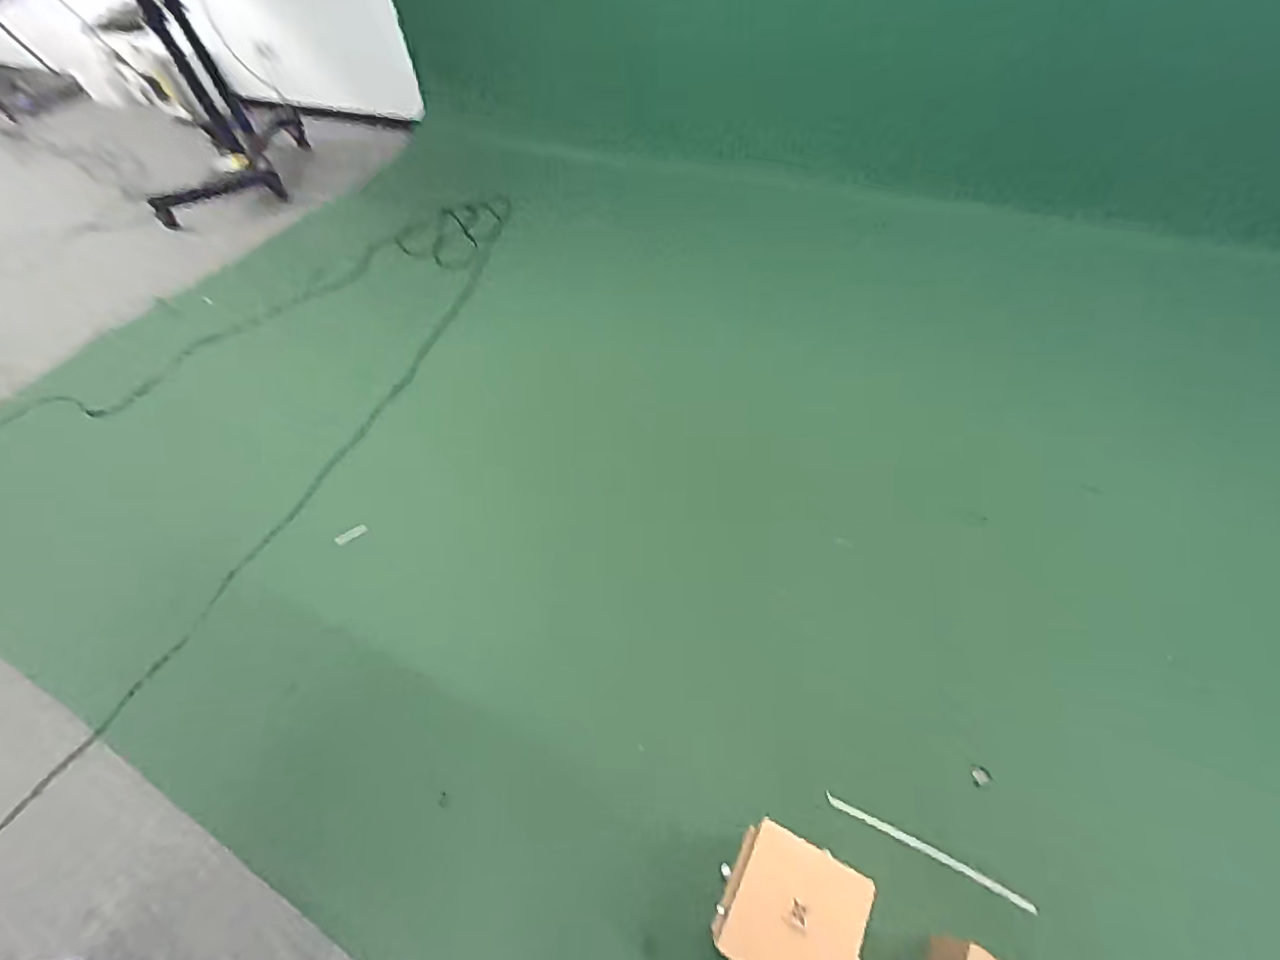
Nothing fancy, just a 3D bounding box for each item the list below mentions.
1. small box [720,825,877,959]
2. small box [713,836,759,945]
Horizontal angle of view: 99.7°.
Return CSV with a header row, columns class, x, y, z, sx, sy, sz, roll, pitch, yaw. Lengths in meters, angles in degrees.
class,x,y,z,sx,sy,sz,roll,pitch,yaw
small box,0.223,0.651,0.797,0.168,0.176,0.179,22,58,21
small box,0.237,0.749,0.926,0.179,0.176,0.168,21,57,22
